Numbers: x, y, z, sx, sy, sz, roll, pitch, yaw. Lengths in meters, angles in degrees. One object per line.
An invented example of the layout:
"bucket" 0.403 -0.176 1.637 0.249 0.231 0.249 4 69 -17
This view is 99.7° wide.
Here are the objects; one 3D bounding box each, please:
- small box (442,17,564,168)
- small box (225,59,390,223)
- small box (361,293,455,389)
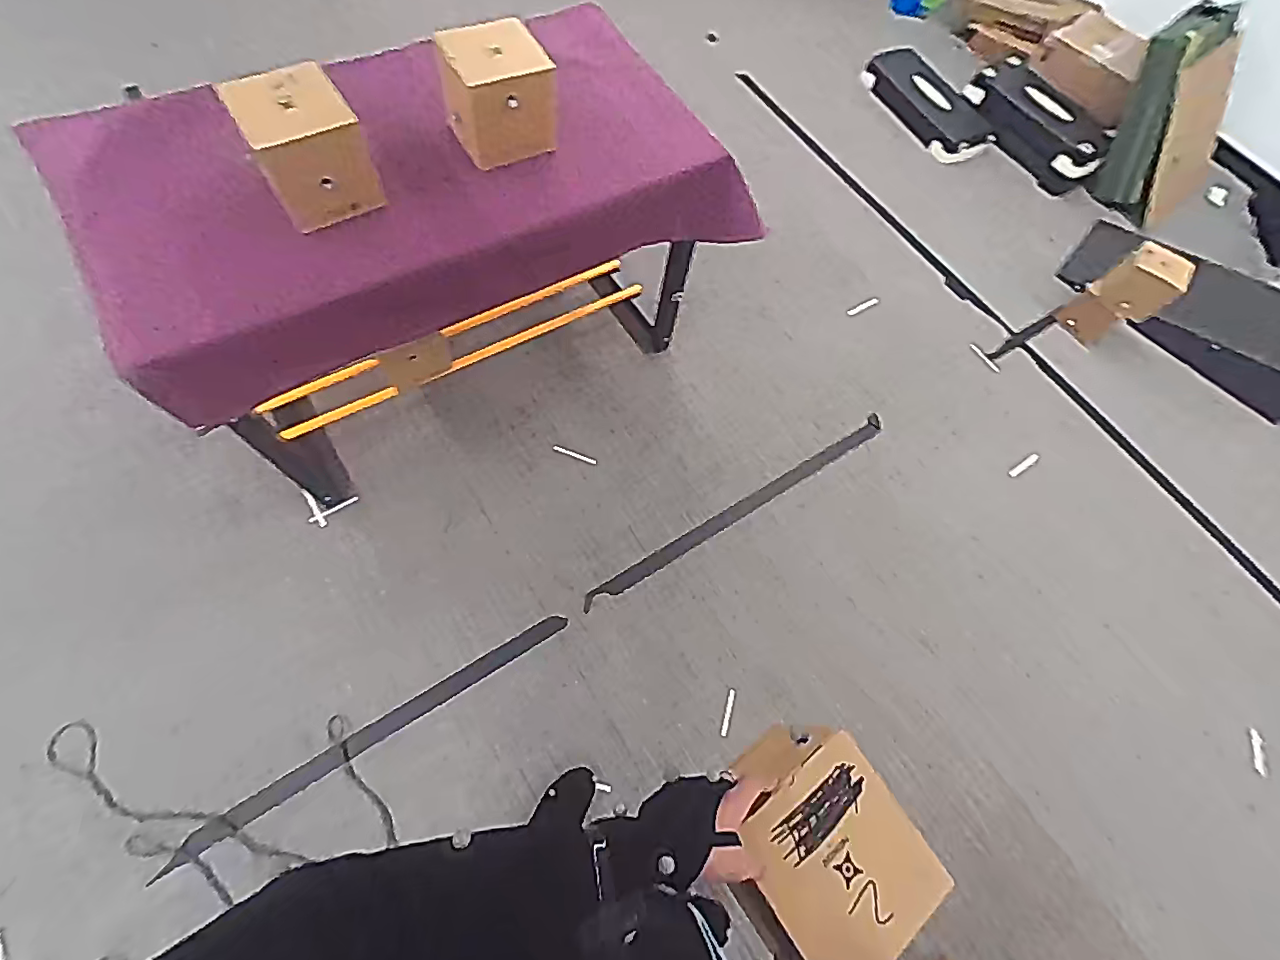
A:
"small box" -0.265 -0.764 1.075 0.179 0.176 0.168 -26 73 -16
"small box" -0.576 -0.588 0.959 0.168 0.176 0.179 -30 74 -18
"small box" -0.651 -0.390 1.538 0.179 0.176 0.168 -31 75 -20
